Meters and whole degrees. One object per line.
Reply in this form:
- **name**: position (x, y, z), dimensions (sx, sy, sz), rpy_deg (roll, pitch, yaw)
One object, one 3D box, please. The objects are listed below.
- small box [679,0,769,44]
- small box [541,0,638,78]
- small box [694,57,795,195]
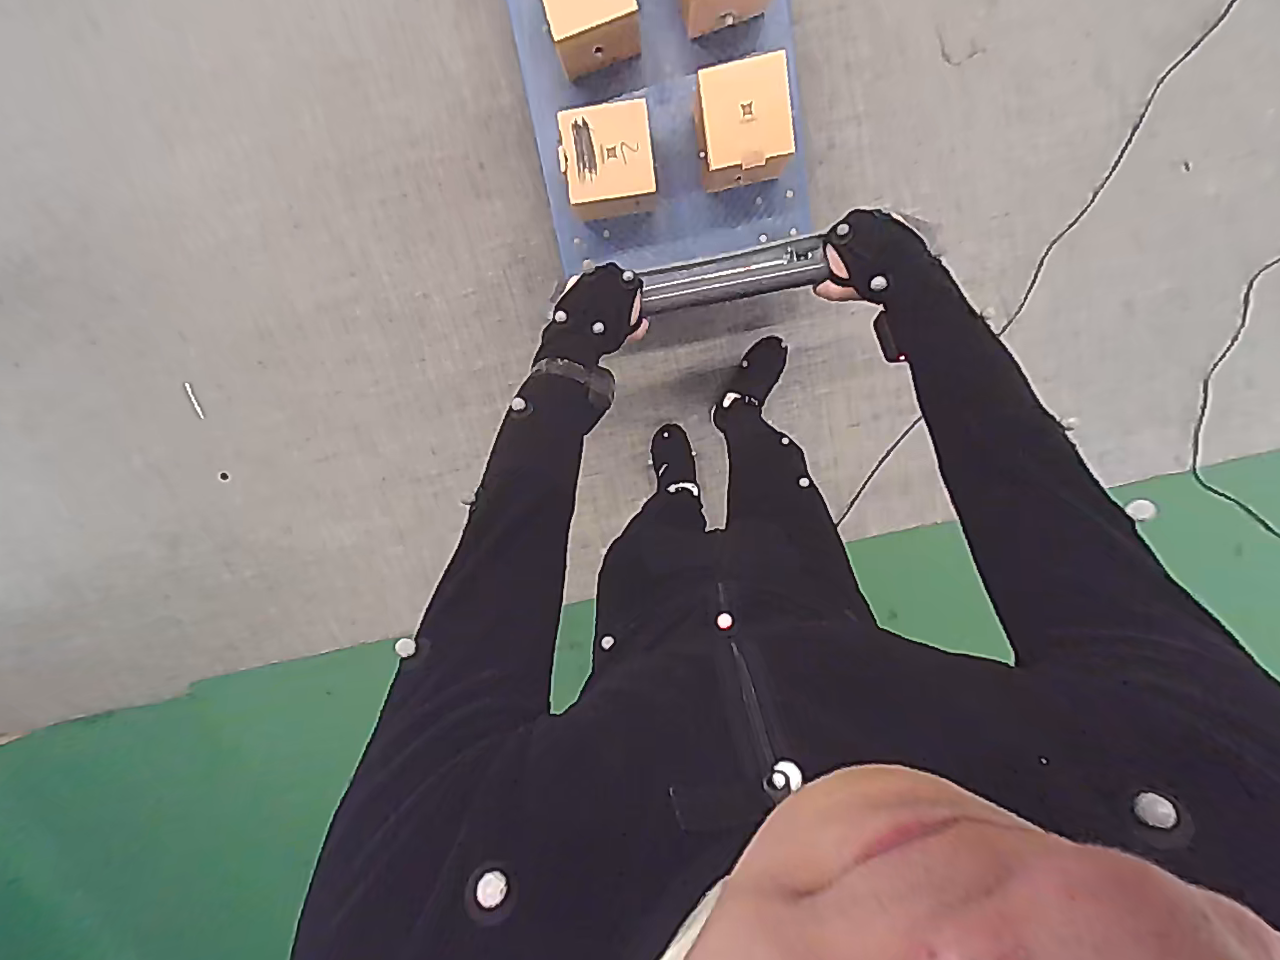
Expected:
- **small box**: position (0.153, -0.994, 1.032), dimensions (0.168, 0.176, 0.179), rpy_deg (-15, 105, 7)
- **small box**: position (-0.103, -0.929, 1.059), dimensions (0.168, 0.176, 0.179), rpy_deg (-16, 104, 6)
- **small box**: position (0.207, -0.713, 1.108), dimensions (0.168, 0.176, 0.179), rpy_deg (-10, 105, 5)
